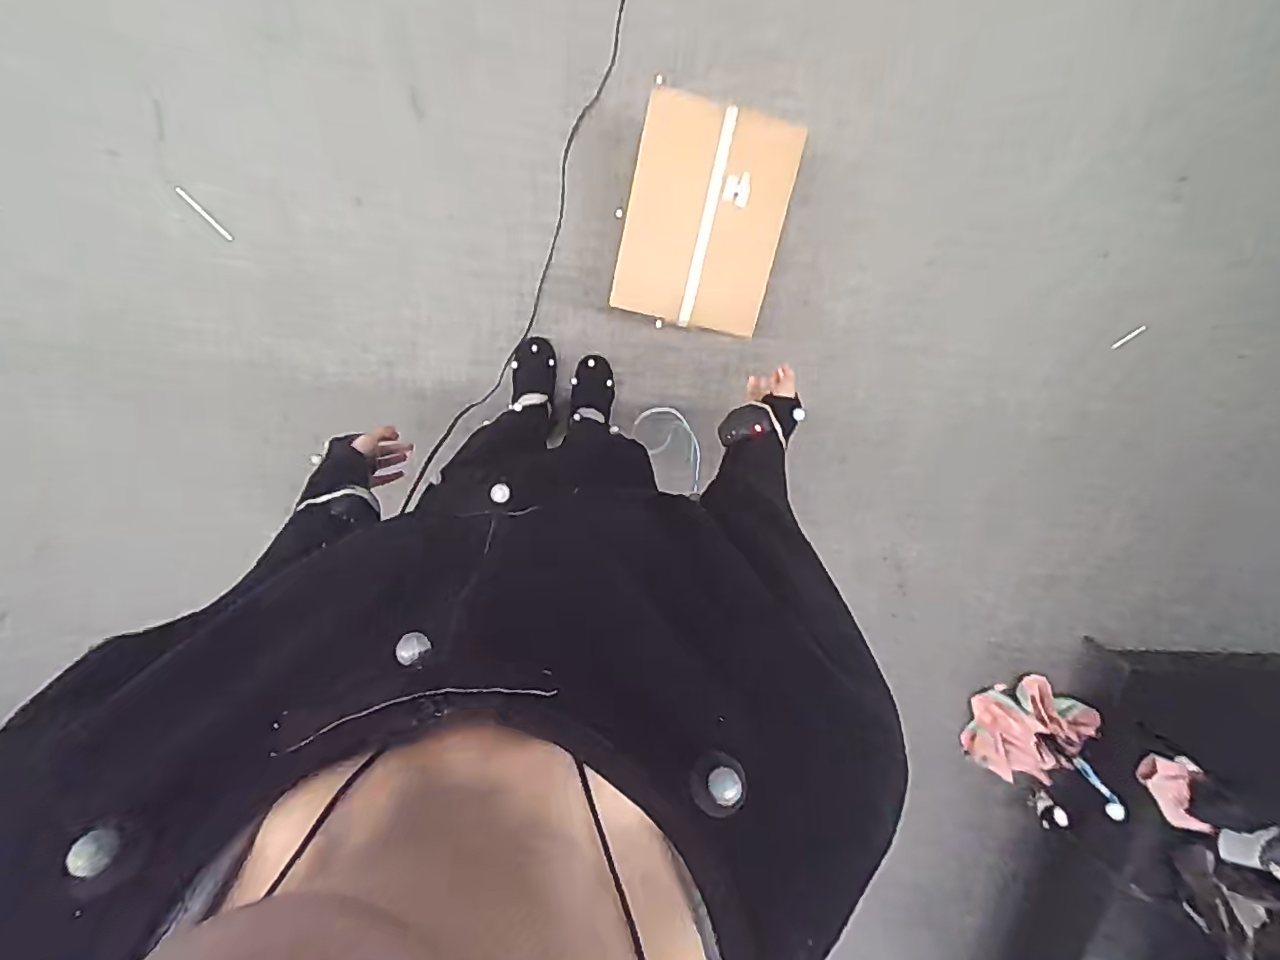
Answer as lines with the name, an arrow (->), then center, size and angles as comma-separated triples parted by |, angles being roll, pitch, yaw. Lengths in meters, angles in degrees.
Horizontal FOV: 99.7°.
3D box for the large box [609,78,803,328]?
large box -> 0.116, -0.574, 1.214 | 0.320, 0.320, 0.408 | 11, 106, -9
